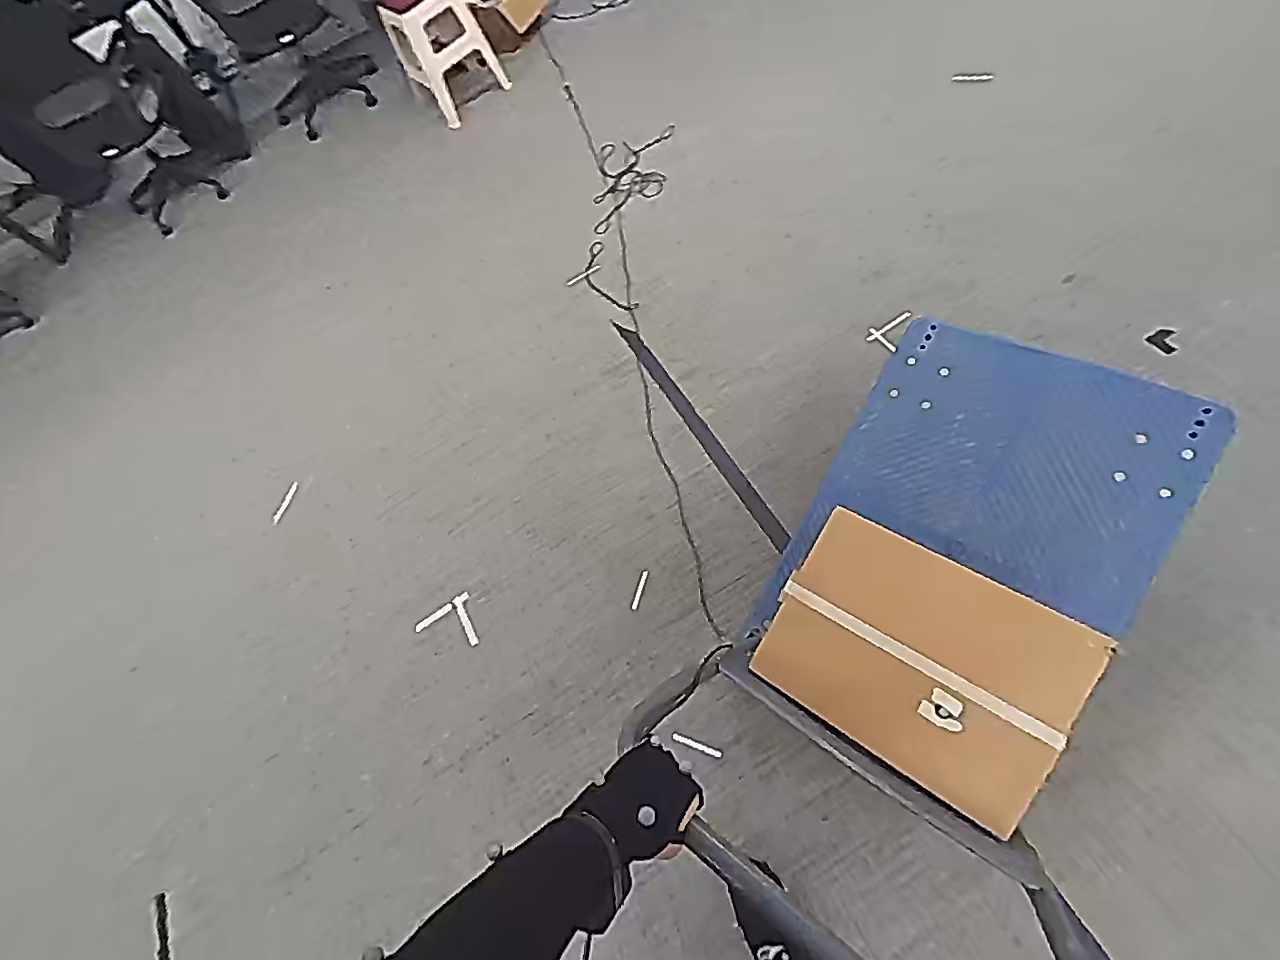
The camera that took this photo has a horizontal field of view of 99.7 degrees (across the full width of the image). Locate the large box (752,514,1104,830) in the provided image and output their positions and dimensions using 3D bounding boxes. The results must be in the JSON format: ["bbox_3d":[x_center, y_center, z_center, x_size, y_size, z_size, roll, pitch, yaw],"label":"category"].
[{"bbox_3d":[0.470,0.300,0.965,0.408,0.320,0.320,29,92,25],"label":"large box"}]
